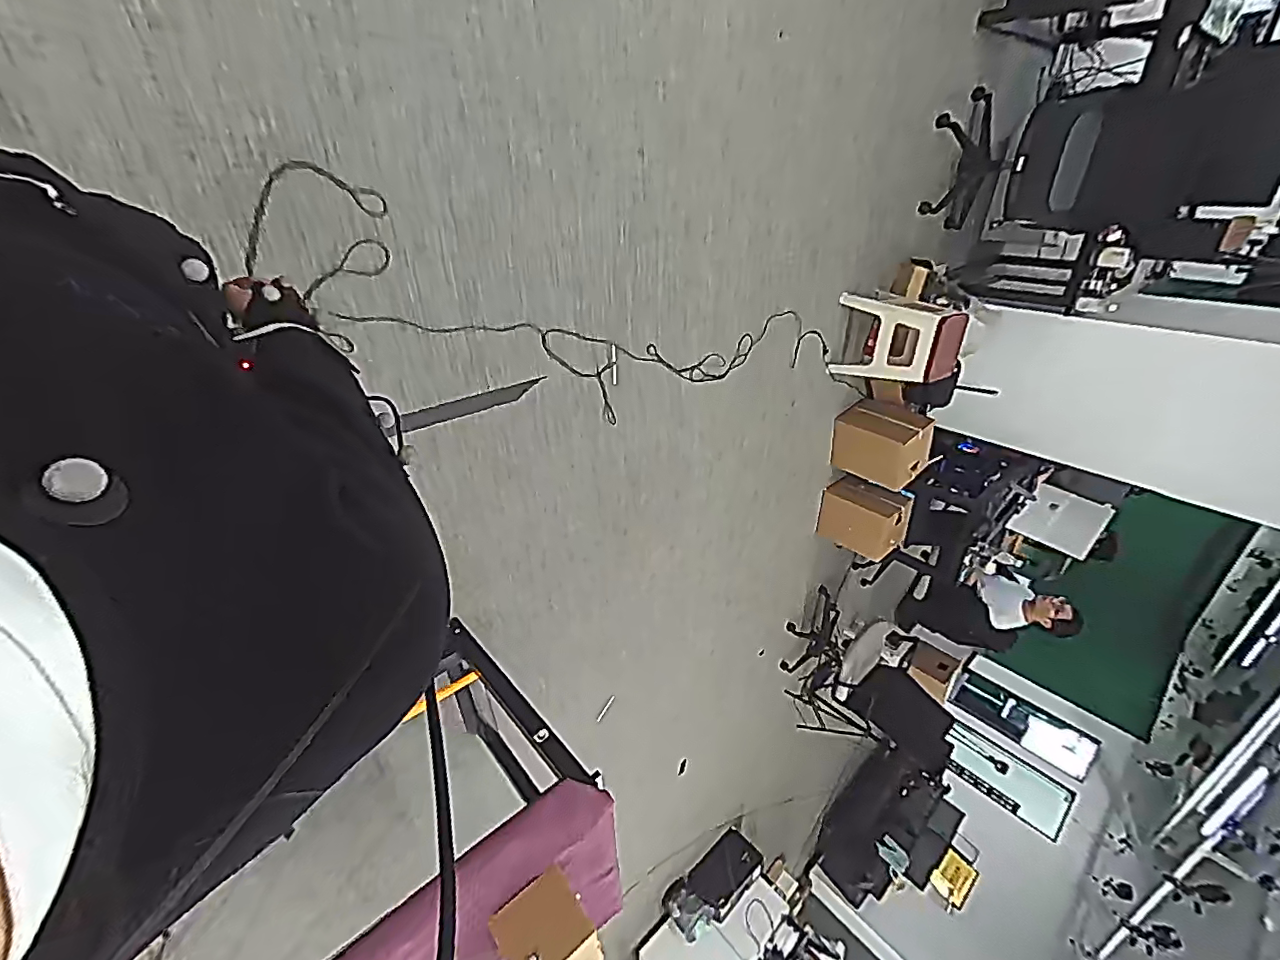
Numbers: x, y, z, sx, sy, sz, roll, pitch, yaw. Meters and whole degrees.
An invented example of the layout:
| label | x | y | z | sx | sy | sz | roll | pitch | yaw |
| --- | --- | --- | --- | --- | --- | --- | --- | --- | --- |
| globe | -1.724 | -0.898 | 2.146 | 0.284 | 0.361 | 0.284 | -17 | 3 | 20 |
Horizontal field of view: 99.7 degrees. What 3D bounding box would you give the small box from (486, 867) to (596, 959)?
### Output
| label | x | y | z | sx | sy | sz | roll | pitch | yaw |
| --- | --- | --- | --- | --- | --- | --- | --- | --- | --- |
| small box | -0.220 | 1.011 | 1.183 | 0.179 | 0.176 | 0.168 | -26 | 128 | -31 |
